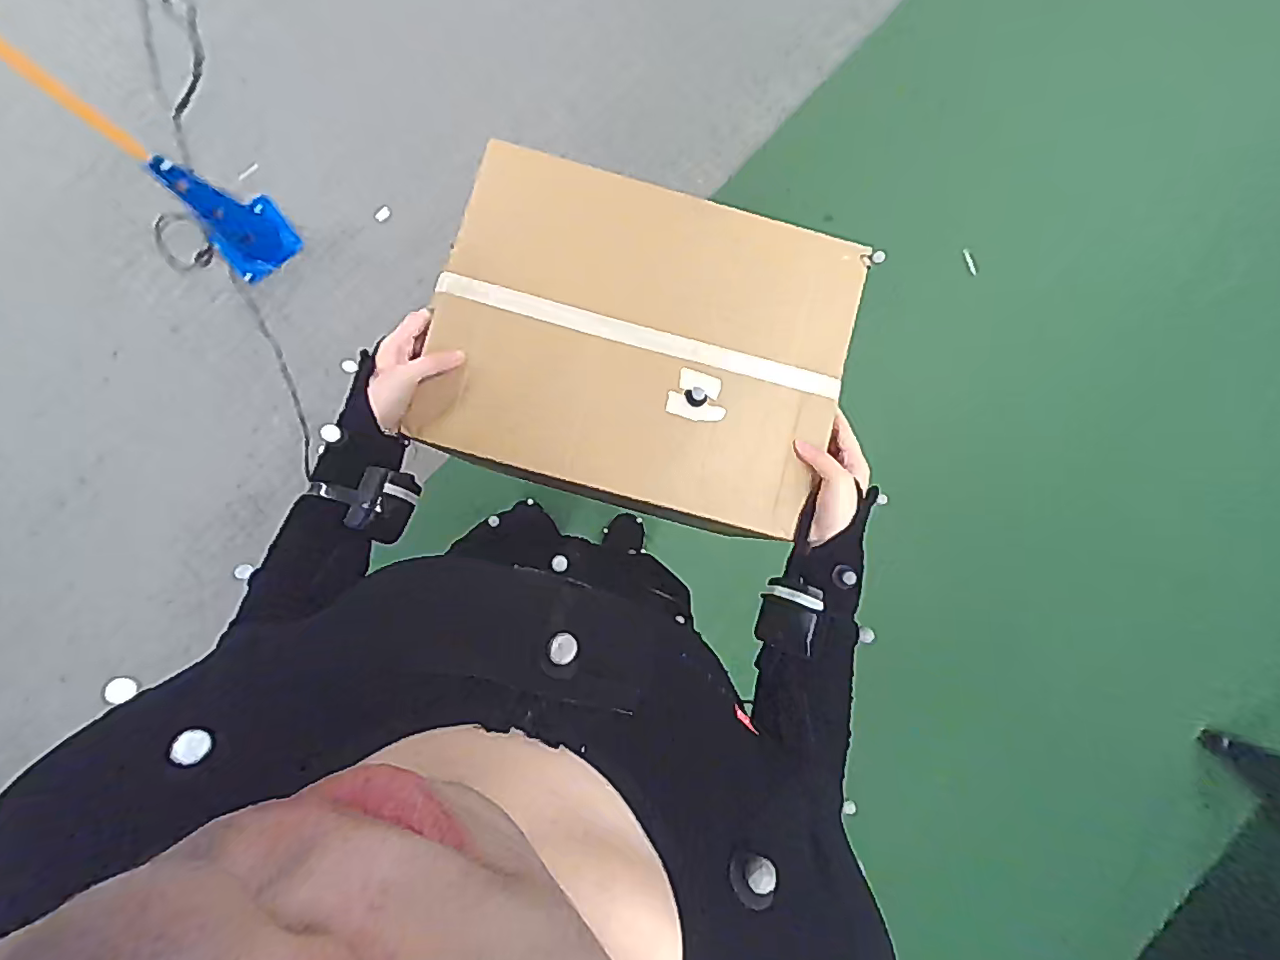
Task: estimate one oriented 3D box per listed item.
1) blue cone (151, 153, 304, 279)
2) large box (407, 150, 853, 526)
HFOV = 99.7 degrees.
[{"bbox_3d":[-1.070,-0.699,1.370,0.193,0.380,0.192,-37,89,-3],"label":"blue cone"},{"bbox_3d":[-0.013,-0.133,0.691,0.408,0.320,0.320,14,85,-3],"label":"large box"}]
